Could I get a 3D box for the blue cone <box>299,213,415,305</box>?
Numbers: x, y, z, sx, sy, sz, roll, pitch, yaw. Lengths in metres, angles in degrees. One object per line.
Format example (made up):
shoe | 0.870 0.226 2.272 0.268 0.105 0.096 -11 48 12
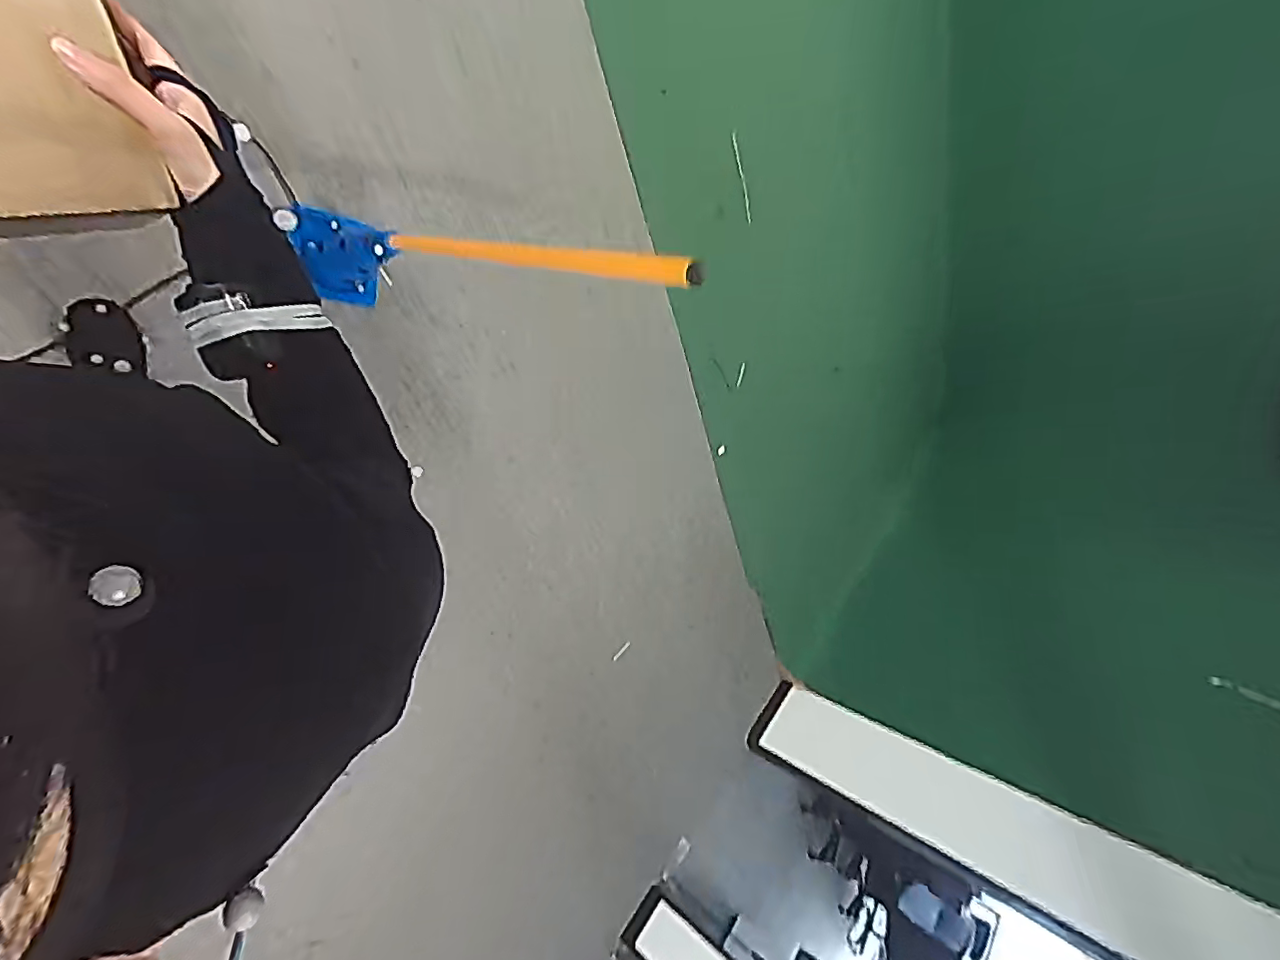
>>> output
blue cone | -0.600 -0.503 1.201 0.193 0.380 0.192 -5 105 -47
